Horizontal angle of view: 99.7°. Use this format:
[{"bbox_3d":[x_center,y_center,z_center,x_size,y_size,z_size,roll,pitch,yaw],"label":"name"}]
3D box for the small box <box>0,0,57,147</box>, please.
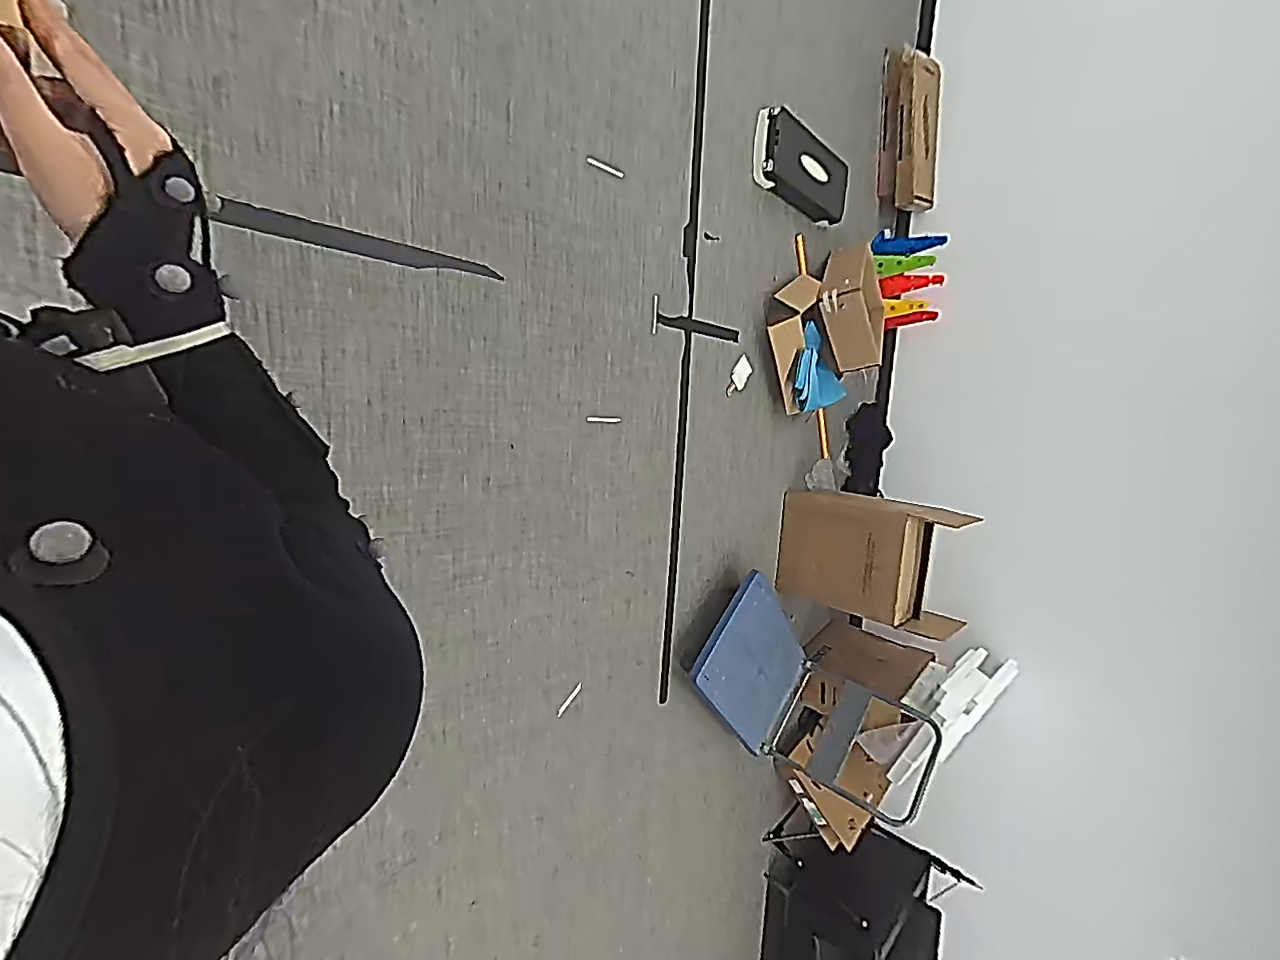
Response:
[{"bbox_3d":[-0.408,-0.288,0.248,0.179,0.176,0.168,-7,98,-45],"label":"small box"}]
